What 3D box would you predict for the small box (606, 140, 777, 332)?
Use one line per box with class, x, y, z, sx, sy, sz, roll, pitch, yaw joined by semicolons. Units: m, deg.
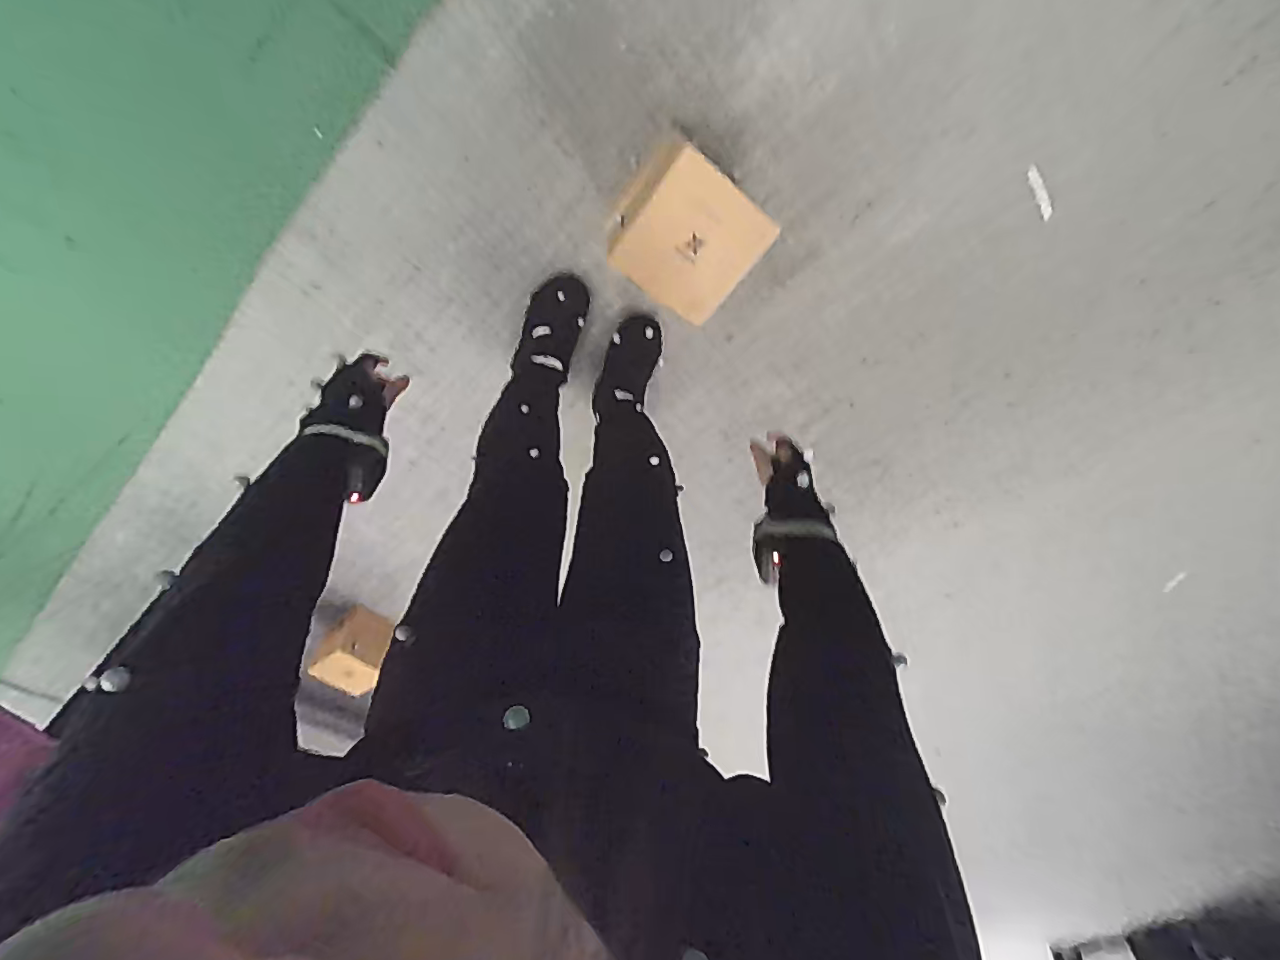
small box;0.068;-0.358;0.790;0.168;0.176;0.179;31;120;-23
